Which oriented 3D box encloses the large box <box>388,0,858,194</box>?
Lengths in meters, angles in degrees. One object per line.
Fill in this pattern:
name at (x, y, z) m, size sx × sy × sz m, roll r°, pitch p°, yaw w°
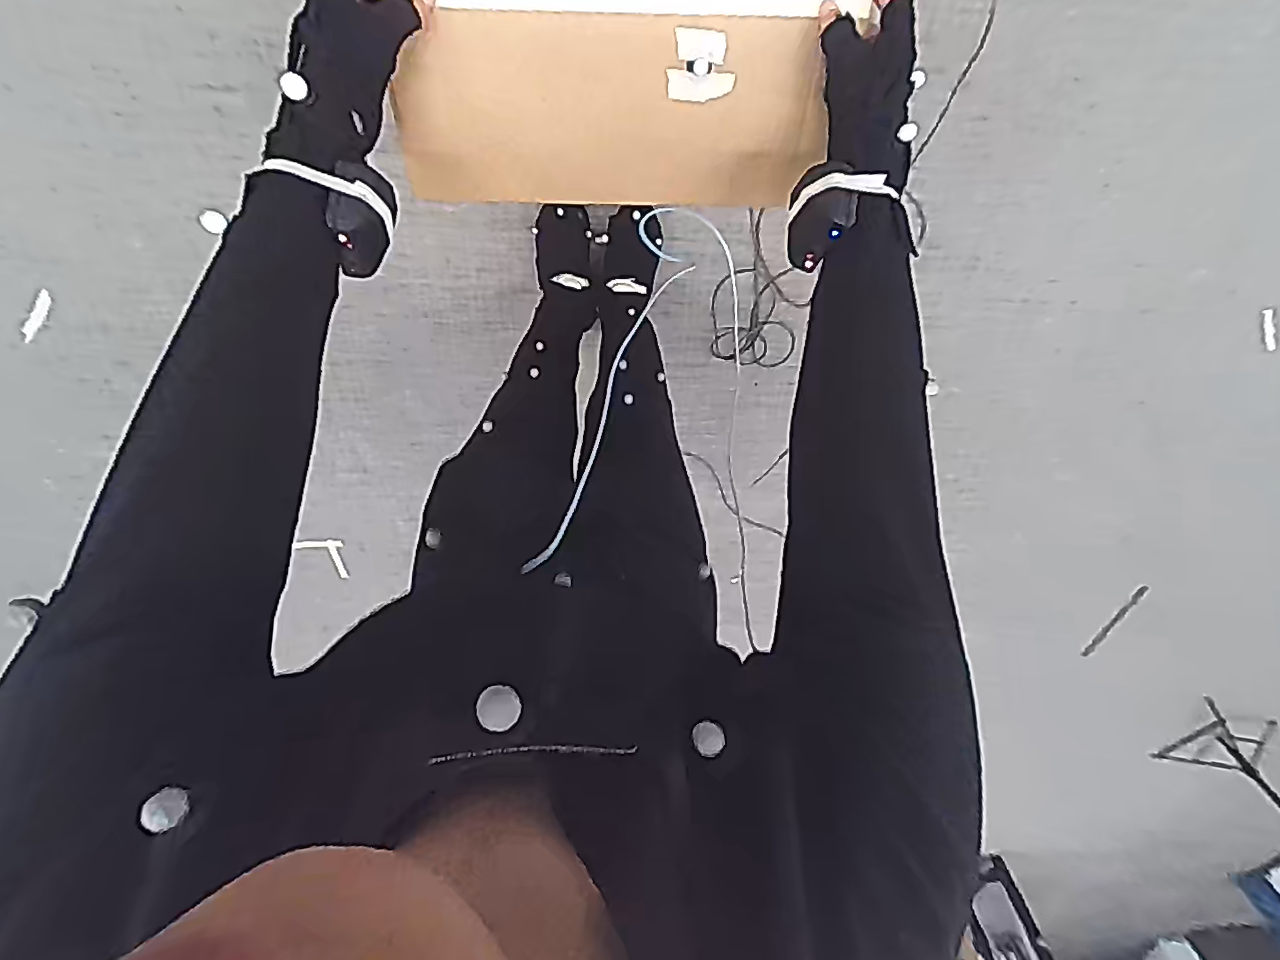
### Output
large box at (-0.020, -0.505, 0.560) m, size 0.408 × 0.320 × 0.320 m, roll -1°, pitch 132°, yaw -3°
